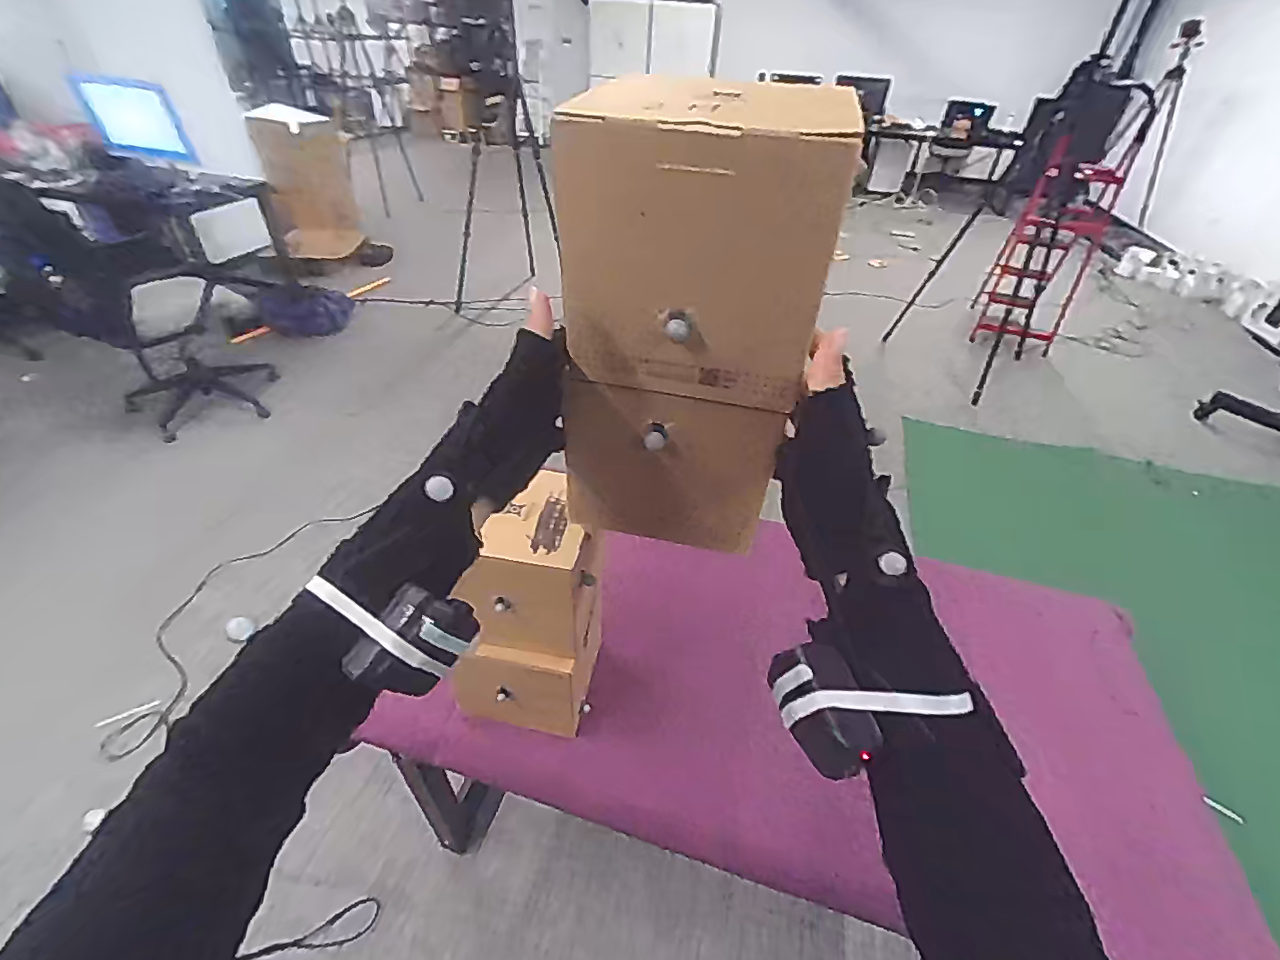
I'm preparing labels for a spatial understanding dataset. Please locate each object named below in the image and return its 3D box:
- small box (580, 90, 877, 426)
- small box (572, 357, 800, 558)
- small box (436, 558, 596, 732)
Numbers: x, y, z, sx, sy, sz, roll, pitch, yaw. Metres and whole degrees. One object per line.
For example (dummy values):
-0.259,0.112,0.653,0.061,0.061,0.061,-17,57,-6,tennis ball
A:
0.061,-0.167,0.401,0.168,0.176,0.179,12,45,10,small box
0.046,-0.048,0.515,0.179,0.176,0.168,11,44,8,small box
-0.169,0.244,0.794,0.179,0.176,0.168,9,39,5,small box
